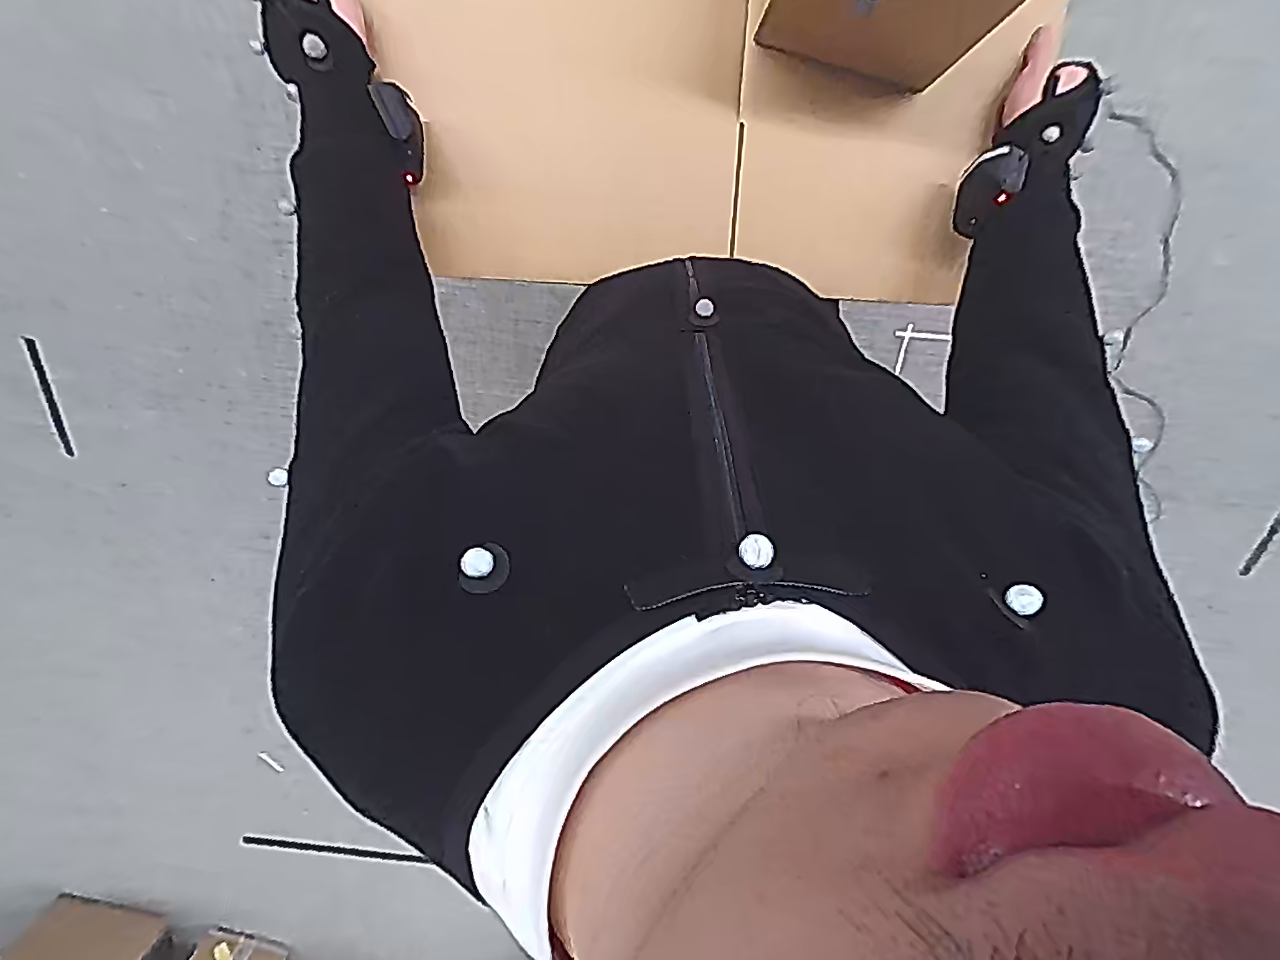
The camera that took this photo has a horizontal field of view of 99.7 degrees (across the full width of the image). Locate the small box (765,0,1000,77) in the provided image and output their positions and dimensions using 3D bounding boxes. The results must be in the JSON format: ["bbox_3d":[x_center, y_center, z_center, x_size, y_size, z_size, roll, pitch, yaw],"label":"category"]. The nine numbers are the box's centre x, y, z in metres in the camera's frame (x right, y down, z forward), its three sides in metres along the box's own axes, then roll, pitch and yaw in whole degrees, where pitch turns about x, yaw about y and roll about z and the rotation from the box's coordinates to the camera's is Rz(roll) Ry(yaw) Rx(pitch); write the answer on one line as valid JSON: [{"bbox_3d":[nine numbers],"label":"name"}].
[{"bbox_3d":[0.214,-0.460,0.425,0.179,0.176,0.168,13,104,-3],"label":"small box"}]
